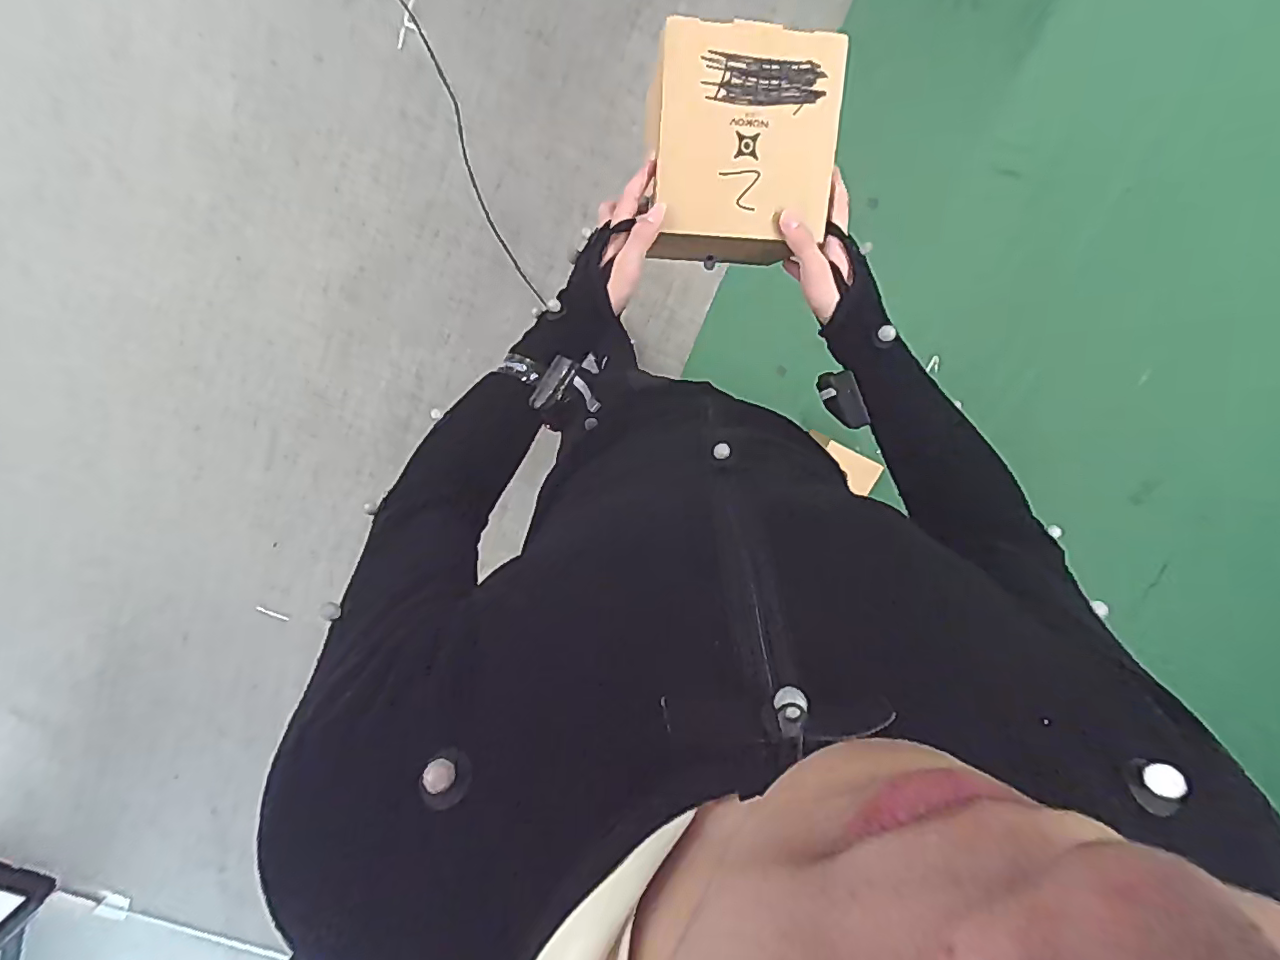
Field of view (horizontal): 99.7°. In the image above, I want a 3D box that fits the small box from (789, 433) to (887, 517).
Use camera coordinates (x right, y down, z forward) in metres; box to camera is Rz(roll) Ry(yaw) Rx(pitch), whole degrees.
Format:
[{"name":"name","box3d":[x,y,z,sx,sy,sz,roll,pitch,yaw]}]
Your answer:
[{"name":"small box","box3d":[0.561,-0.021,1.554,0.179,0.176,0.168,26,103,-6]}]
